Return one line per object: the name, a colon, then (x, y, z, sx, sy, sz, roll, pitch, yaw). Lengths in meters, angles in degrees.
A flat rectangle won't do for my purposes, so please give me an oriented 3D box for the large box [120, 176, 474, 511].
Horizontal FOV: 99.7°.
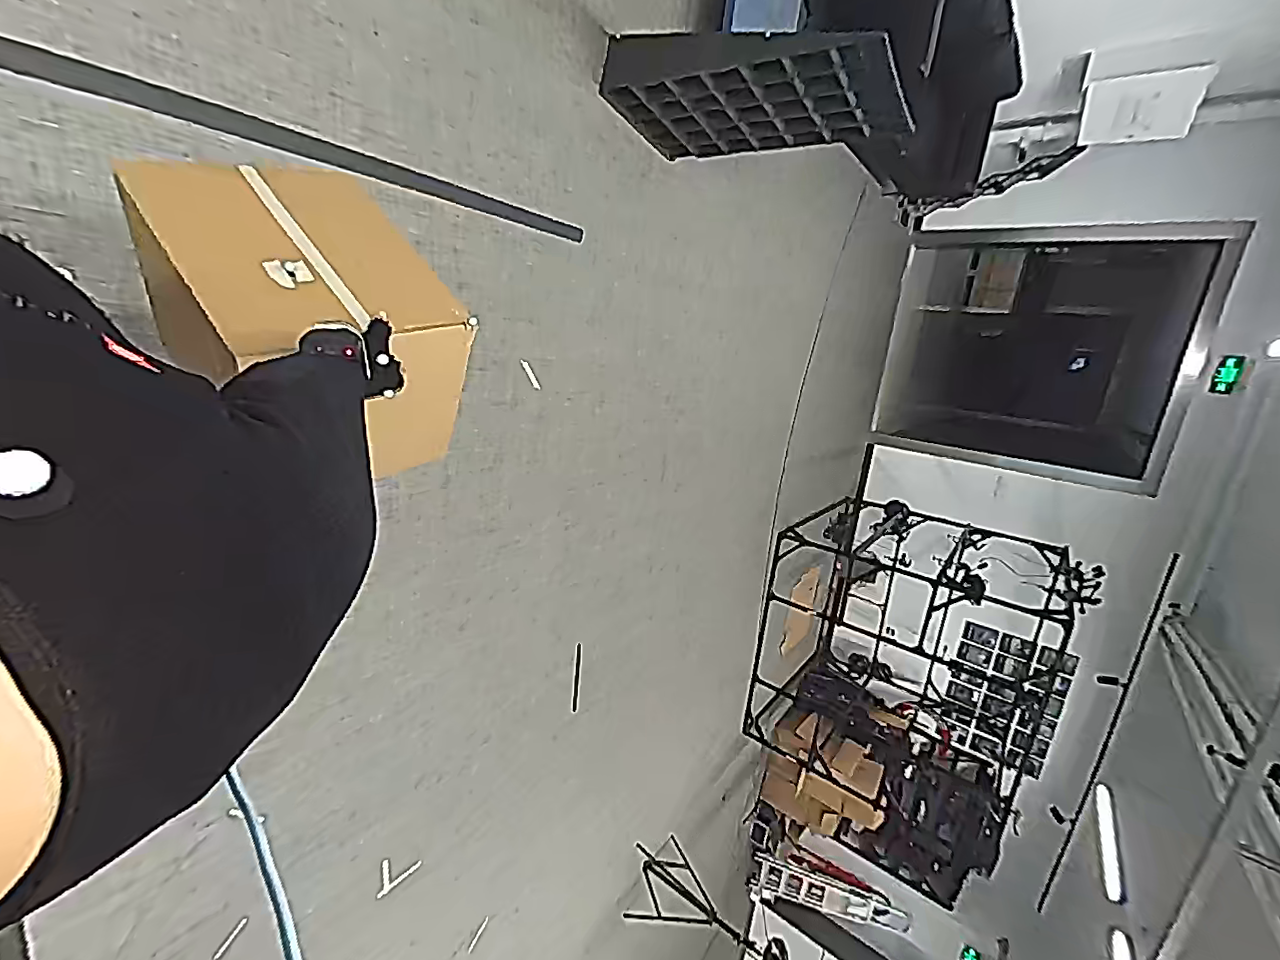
large box: (-0.543, -0.228, 0.886, 0.320, 0.408, 0.320, -27, 159, -42)
